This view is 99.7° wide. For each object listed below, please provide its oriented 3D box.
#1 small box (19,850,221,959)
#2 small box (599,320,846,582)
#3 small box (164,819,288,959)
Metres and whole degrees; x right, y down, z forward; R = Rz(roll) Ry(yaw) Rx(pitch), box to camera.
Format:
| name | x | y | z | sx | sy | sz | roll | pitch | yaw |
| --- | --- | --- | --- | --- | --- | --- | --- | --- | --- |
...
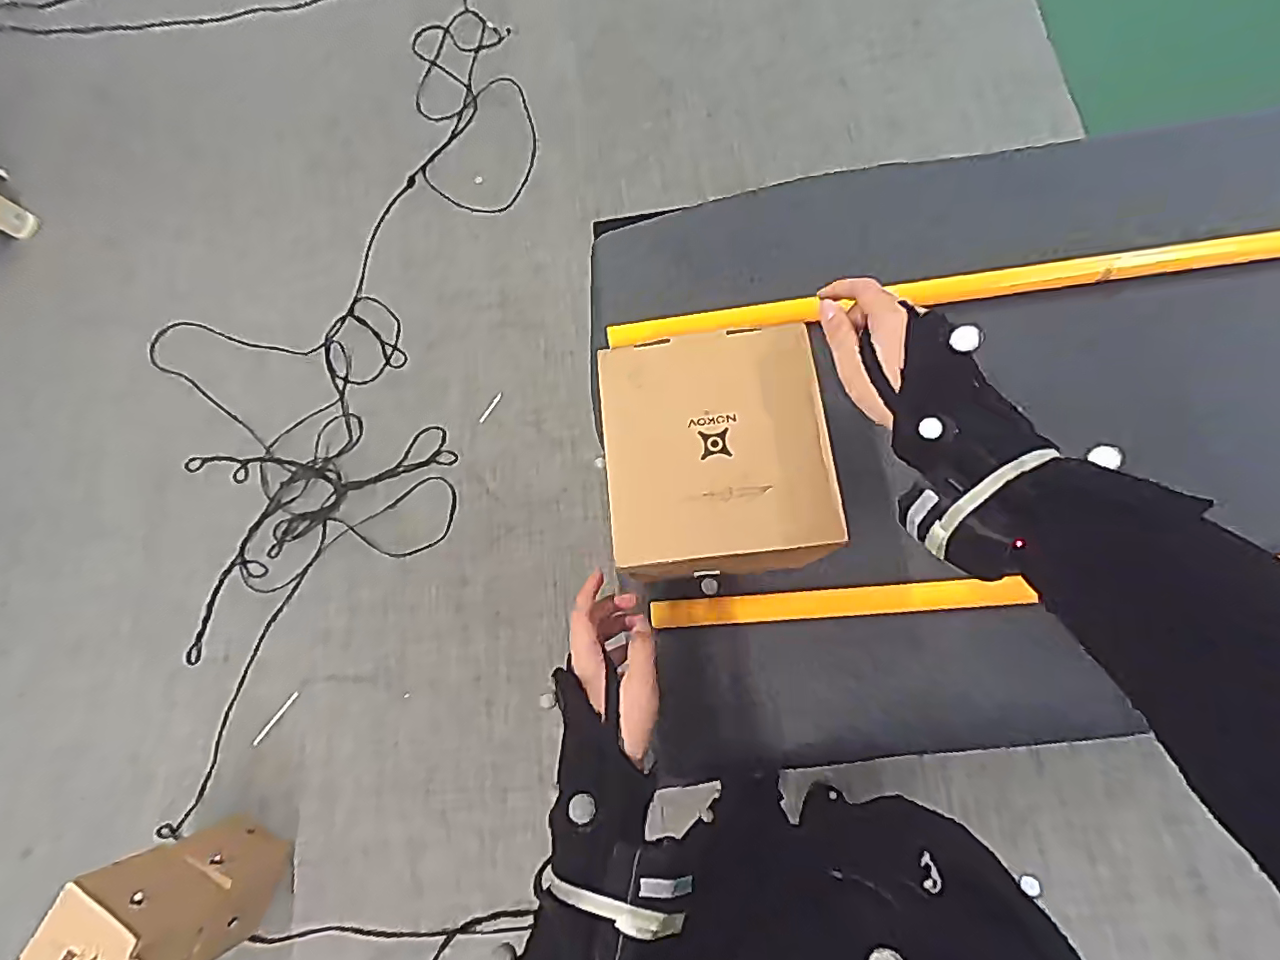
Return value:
| name | x | y | z | sx | sy | sz | roll | pitch | yaw |
| --- | --- | --- | --- | --- | --- | --- | --- | --- | --- |
| small box | -0.895 | 0.789 | 0.939 | 0.179 | 0.176 | 0.168 | 24 | 77 | 13 |
| small box | 0.062 | -0.012 | 0.477 | 0.168 | 0.176 | 0.179 | -8 | 75 | 5 |
| small box | -0.867 | 0.834 | 1.095 | 0.168 | 0.176 | 0.179 | 19 | 77 | 11 |
